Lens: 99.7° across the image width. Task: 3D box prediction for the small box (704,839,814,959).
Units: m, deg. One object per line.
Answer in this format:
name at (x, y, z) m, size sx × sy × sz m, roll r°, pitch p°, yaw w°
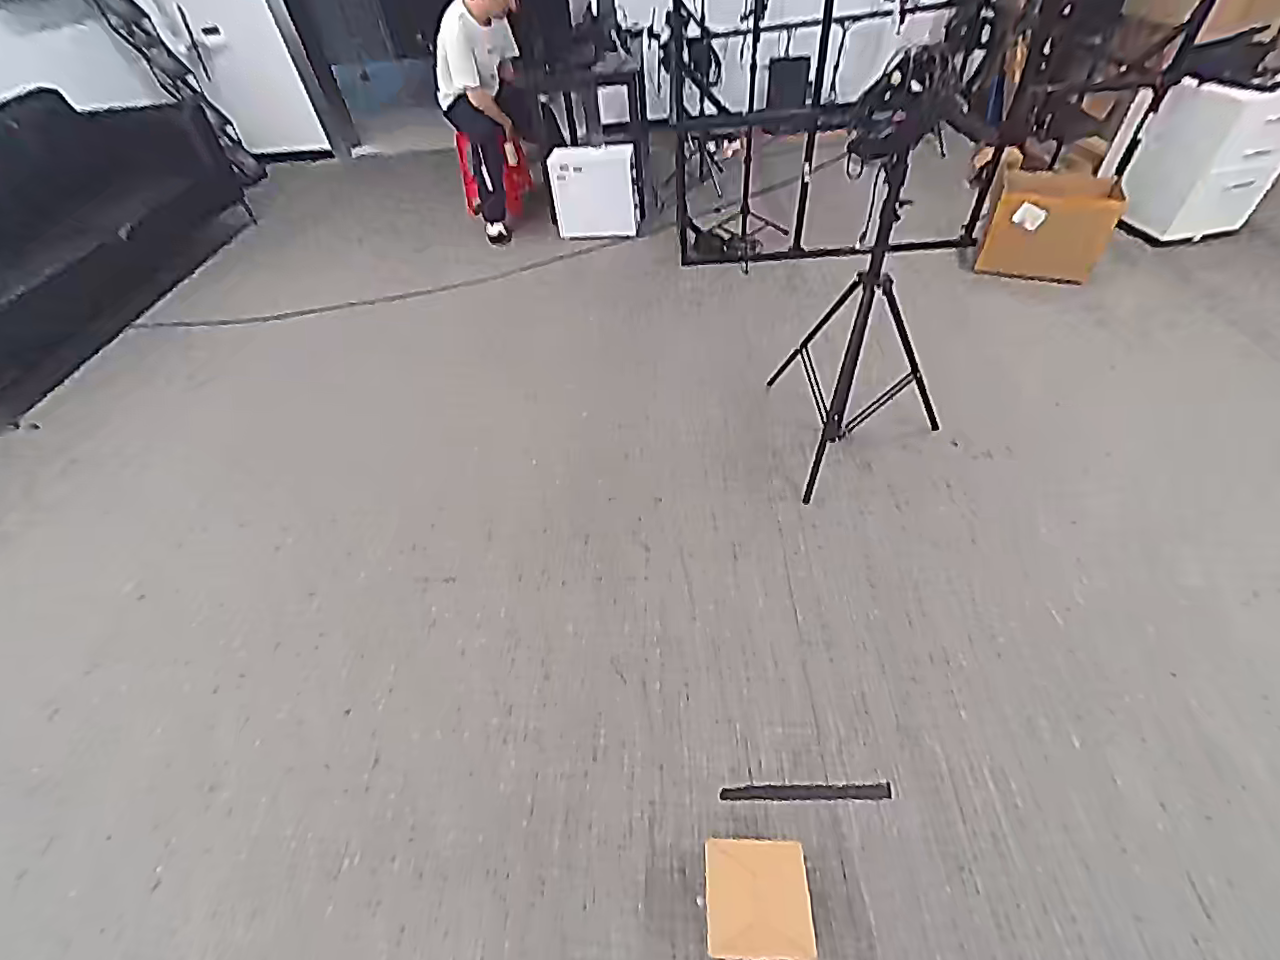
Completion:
small box at (0.208, 0.765, 0.982) m, size 0.179 × 0.176 × 0.168 m, roll -1°, pitch 47°, yaw 5°
